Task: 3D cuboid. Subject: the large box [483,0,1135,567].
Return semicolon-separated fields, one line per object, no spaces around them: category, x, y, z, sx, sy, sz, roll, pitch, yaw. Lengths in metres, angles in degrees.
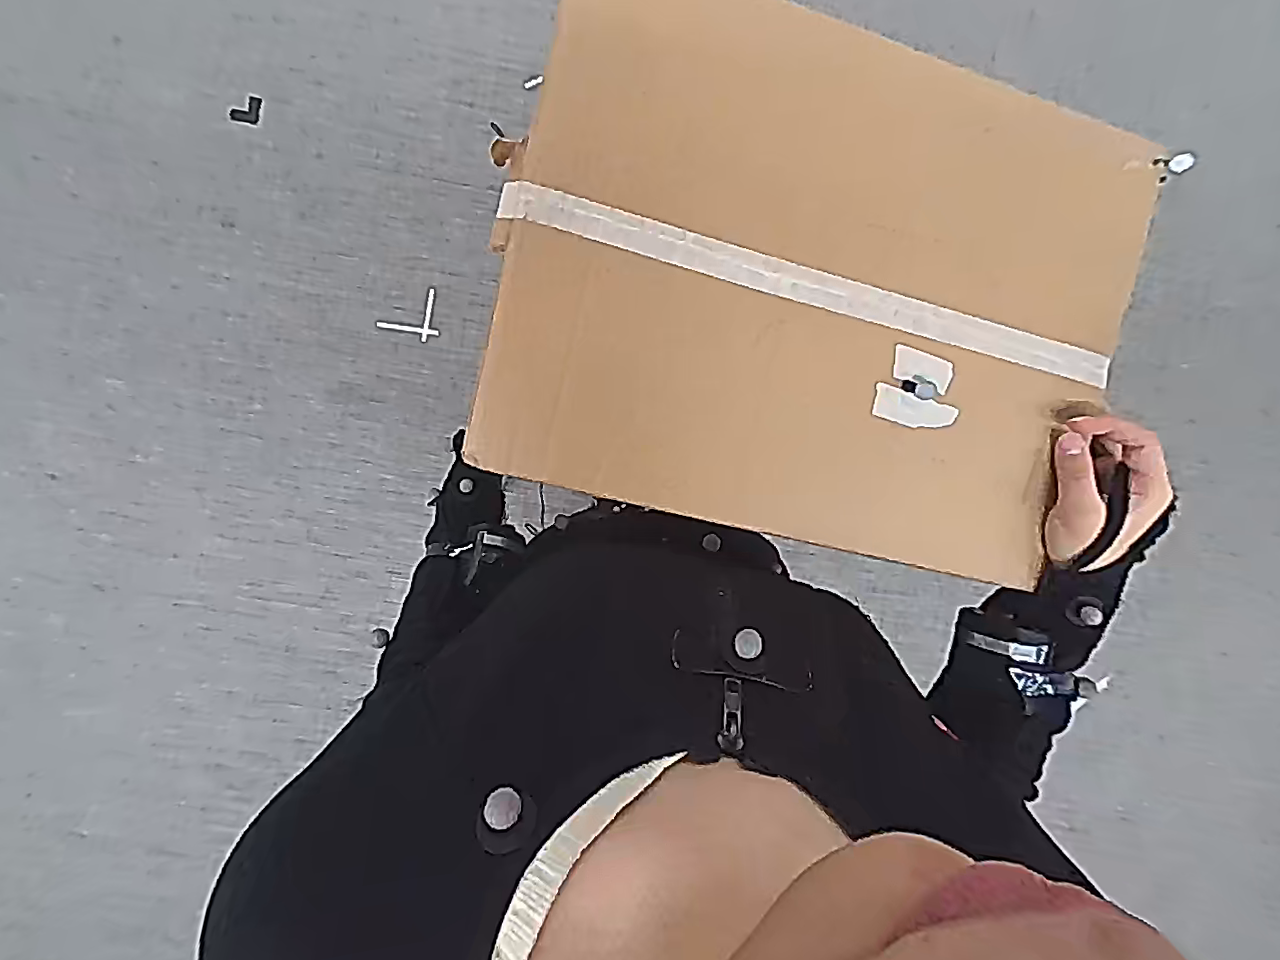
large box;0.100;-0.134;0.496;0.408;0.320;0.320;12;94;-10
